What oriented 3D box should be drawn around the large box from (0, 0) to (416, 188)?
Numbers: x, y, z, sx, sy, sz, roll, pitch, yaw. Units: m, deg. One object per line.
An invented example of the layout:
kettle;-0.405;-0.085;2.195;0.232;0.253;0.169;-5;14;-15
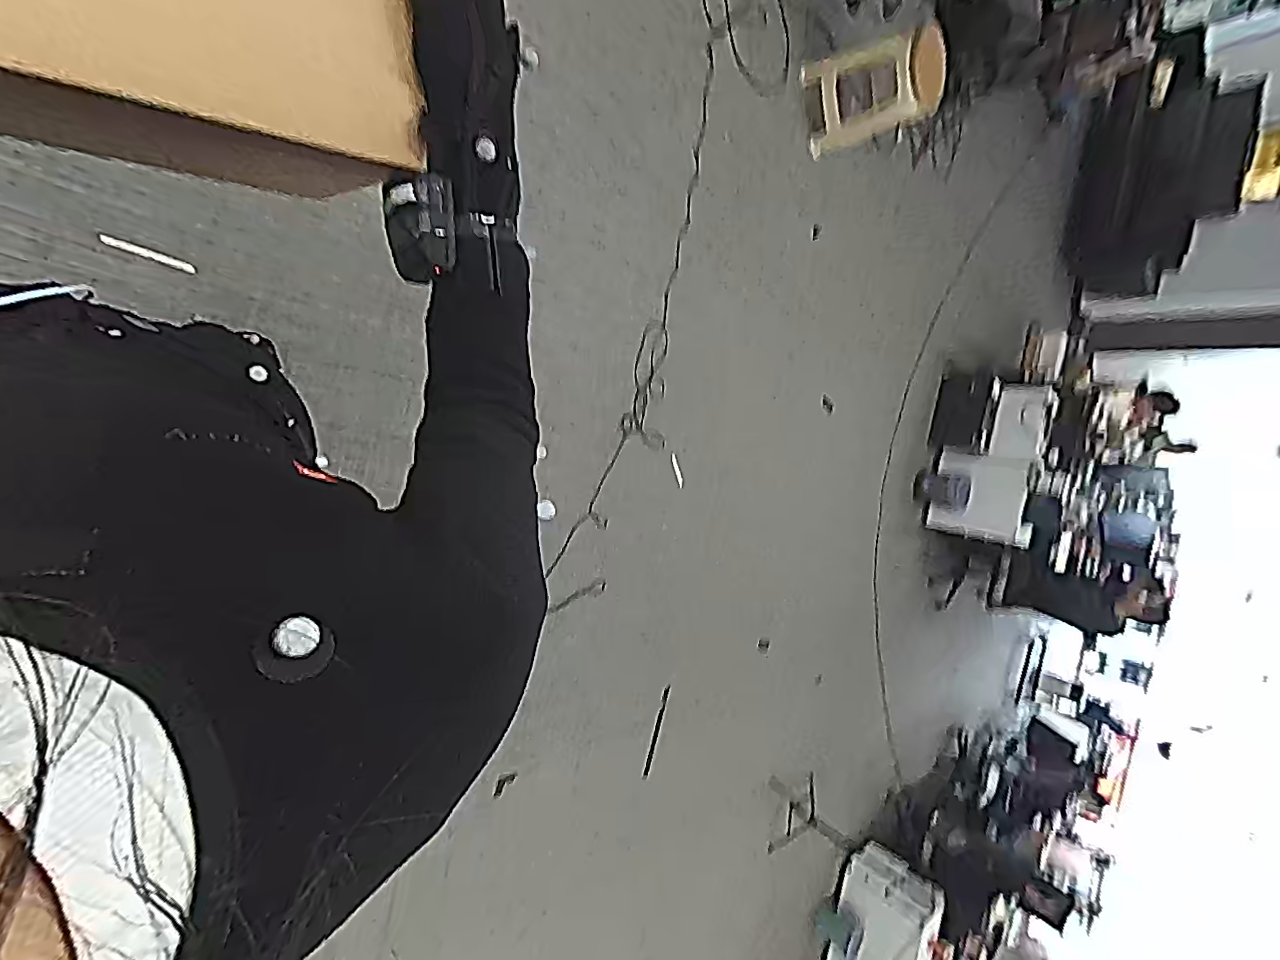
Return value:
large box;-0.390;-0.385;0.307;0.408;0.320;0.320;-10;115;-41
